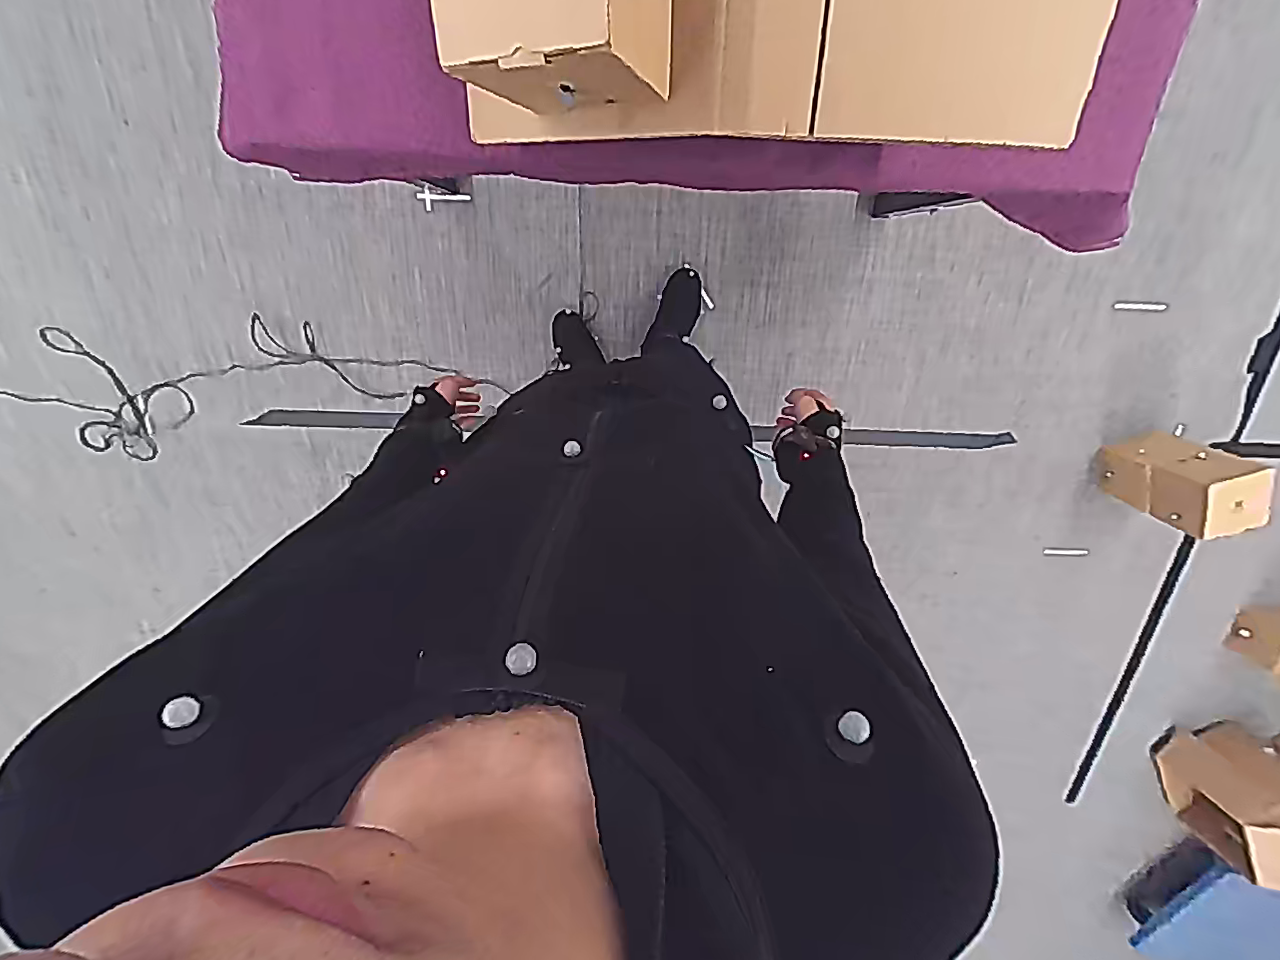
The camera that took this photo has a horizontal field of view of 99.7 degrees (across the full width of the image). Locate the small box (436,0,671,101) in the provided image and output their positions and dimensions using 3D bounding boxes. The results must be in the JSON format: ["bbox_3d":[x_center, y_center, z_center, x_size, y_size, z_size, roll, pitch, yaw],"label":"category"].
[{"bbox_3d":[-0.071,-0.466,0.494,0.168,0.176,0.179,8,115,17],"label":"small box"}]
